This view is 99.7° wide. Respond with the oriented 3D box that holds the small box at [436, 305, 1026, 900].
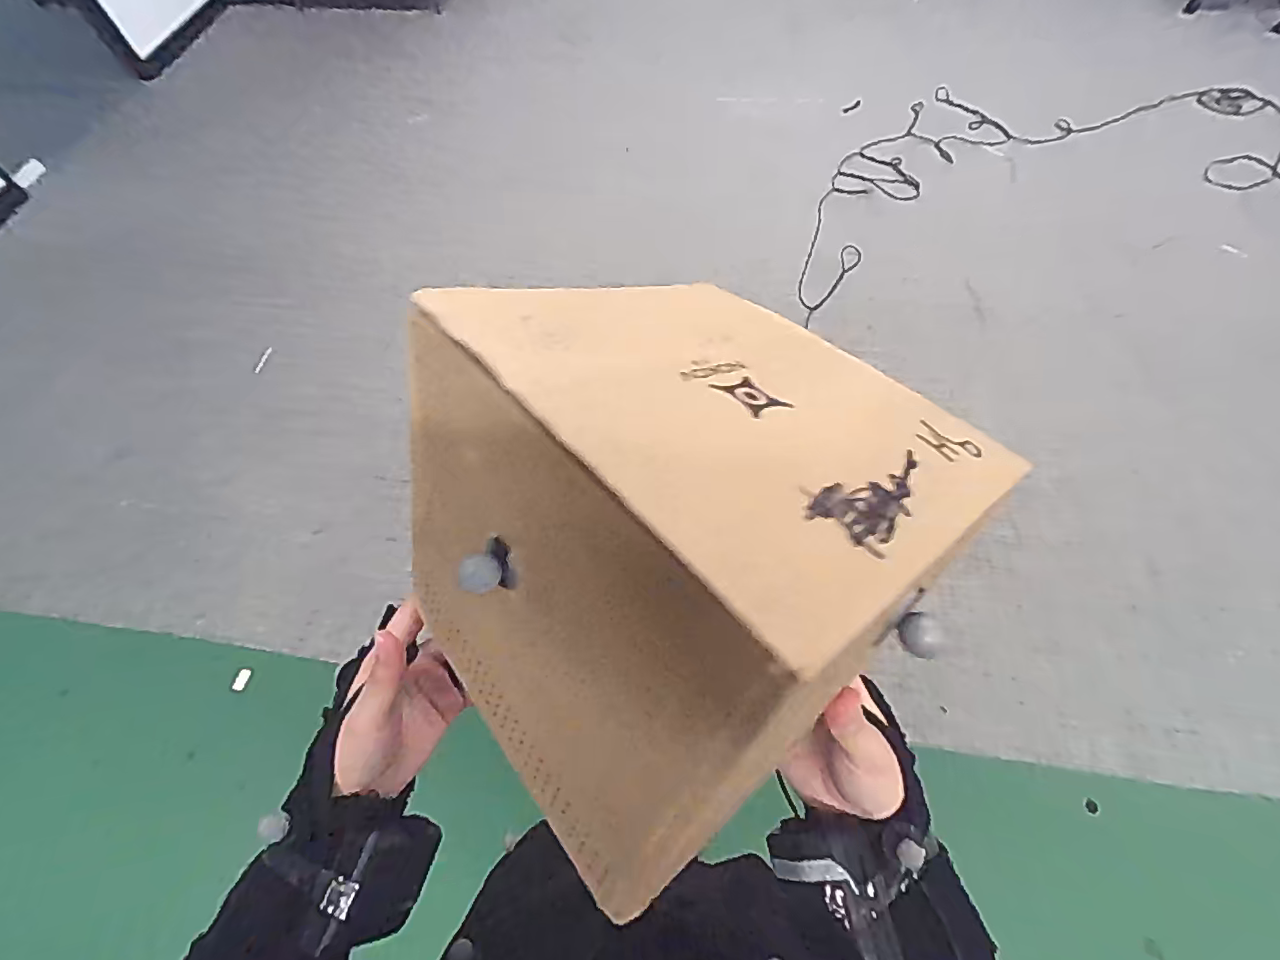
[{"bbox_3d":[0.020,0.037,0.251,0.168,0.176,0.179,-22,50,-39],"label":"small box"}]
